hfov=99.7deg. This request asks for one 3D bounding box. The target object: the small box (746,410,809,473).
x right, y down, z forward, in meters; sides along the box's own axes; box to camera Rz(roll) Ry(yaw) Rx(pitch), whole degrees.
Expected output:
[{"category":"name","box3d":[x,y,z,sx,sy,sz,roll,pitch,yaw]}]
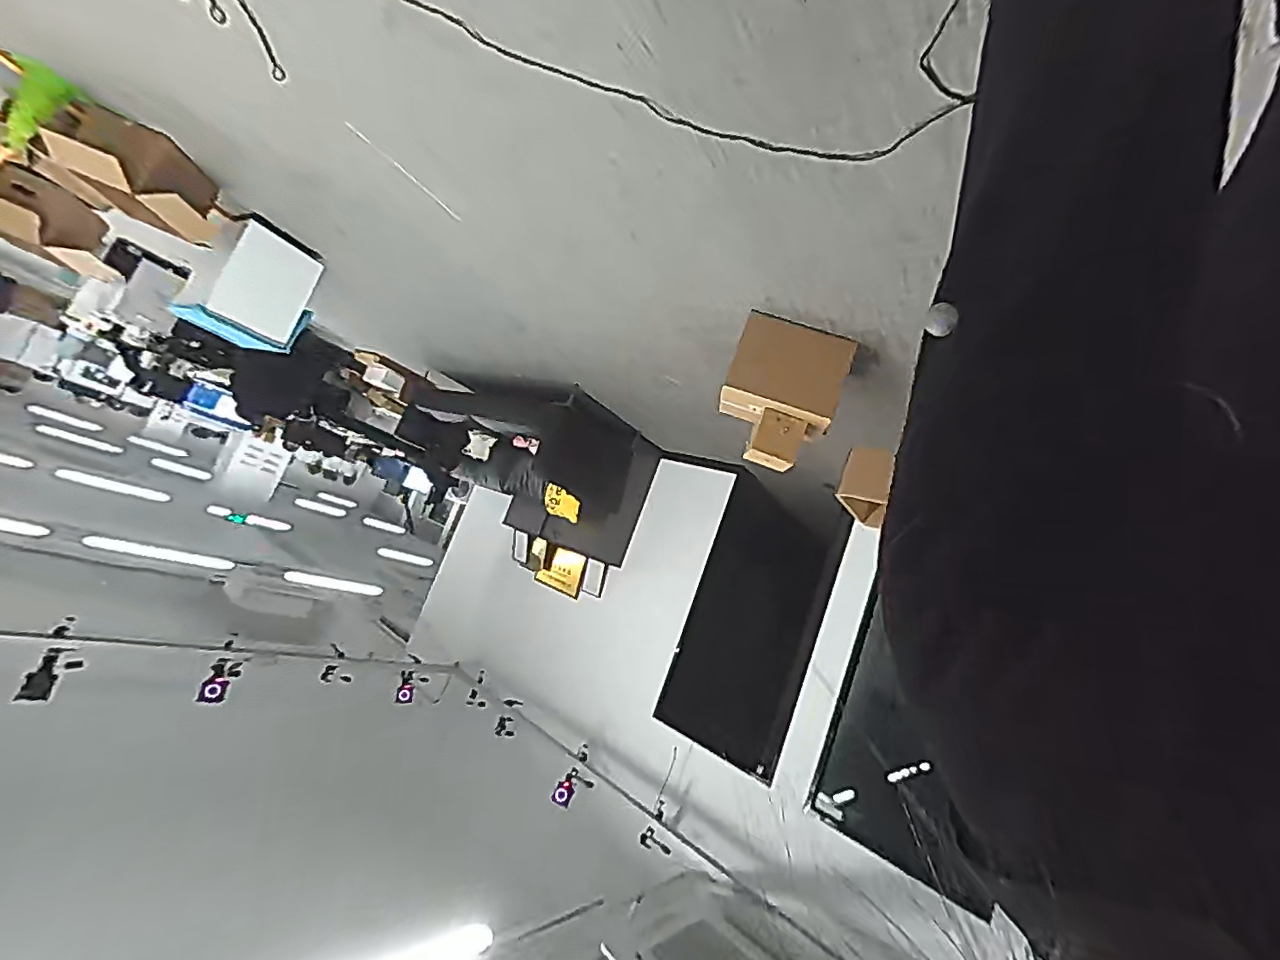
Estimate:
[{"category":"small box","box3d":[0.516,-0.144,2.028,0.168,0.176,0.179,21,173,5]}]

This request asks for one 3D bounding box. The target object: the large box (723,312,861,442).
[{"category":"large box","box3d":[0.563,-0.385,2.060,0.408,0.320,0.320,21,172,9]}]
